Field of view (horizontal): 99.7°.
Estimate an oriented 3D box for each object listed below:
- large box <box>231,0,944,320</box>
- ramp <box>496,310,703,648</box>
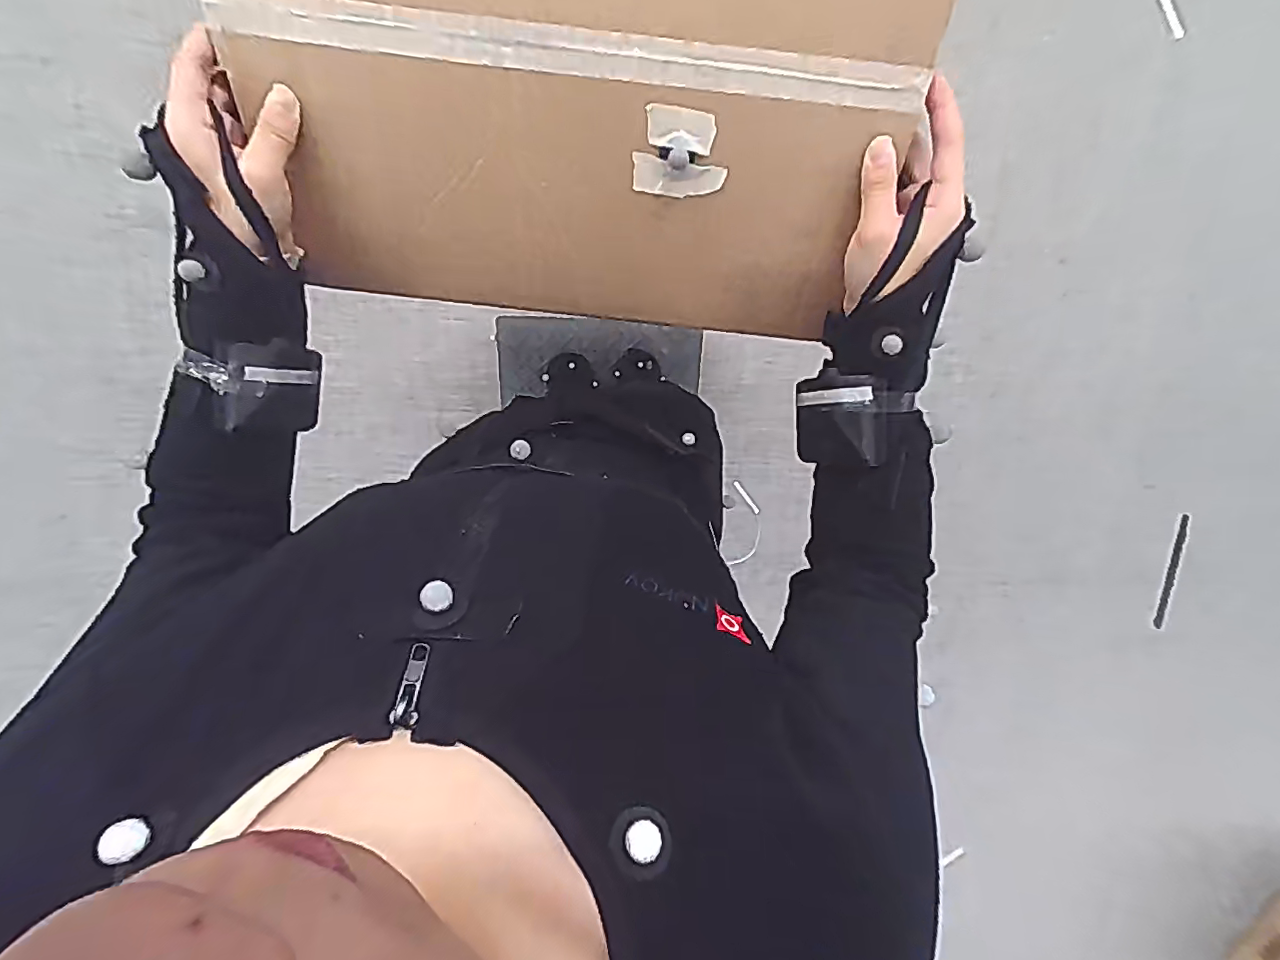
[{"bbox_3d":[-0.031,-0.348,0.424,0.408,0.320,0.320,5,131,-2],"label":"large box"},{"bbox_3d":[-0.112,0.063,1.468,0.509,0.206,0.991,0,104,-4],"label":"ramp"}]
